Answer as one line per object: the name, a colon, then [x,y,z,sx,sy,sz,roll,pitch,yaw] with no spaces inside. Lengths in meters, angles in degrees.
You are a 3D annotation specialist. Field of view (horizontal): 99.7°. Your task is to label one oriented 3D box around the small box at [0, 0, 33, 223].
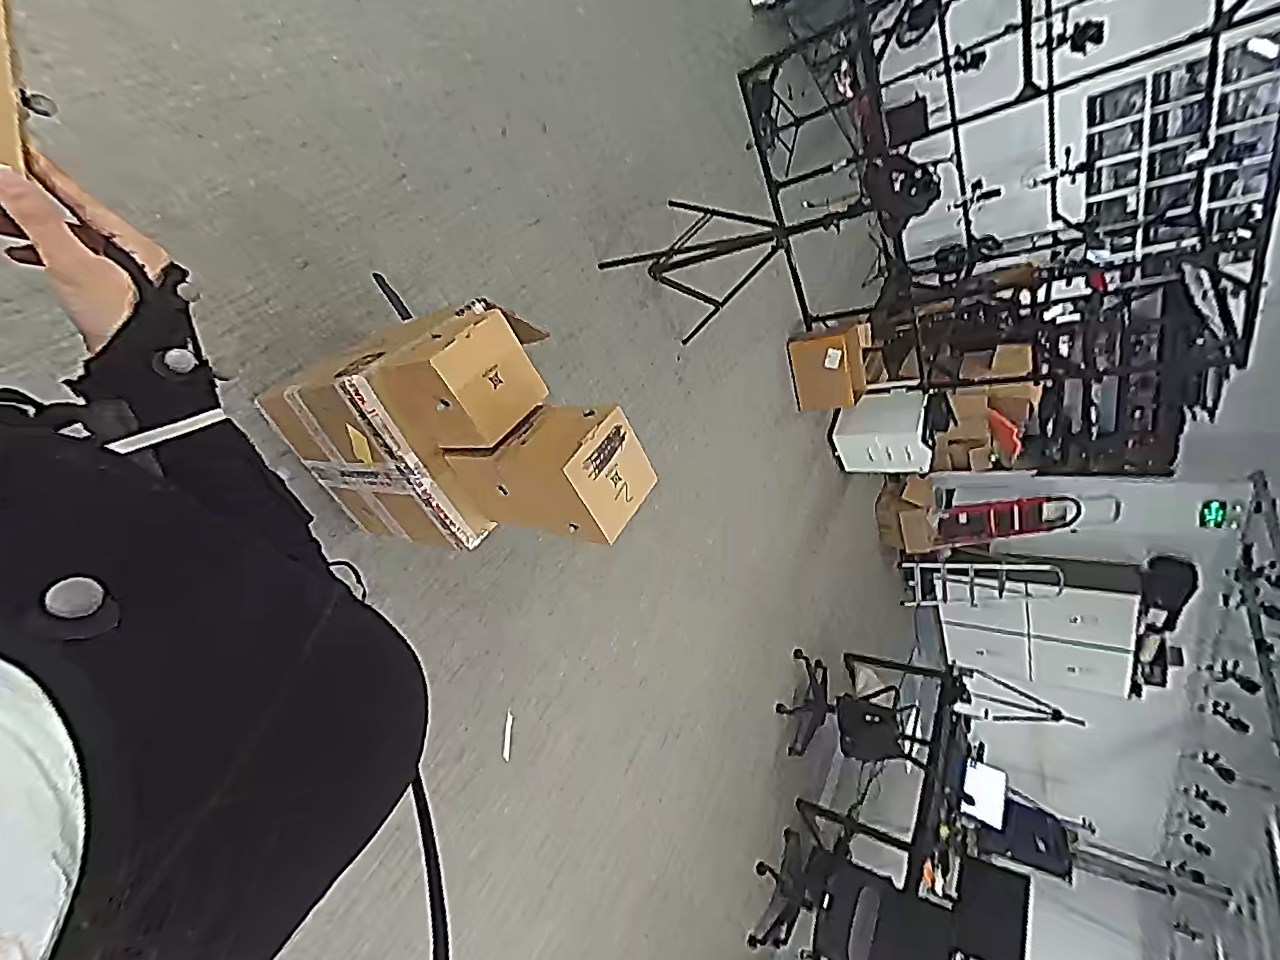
small box: [-0.461,-0.247,0.286,0.179,0.176,0.168,-6,106,-46]
